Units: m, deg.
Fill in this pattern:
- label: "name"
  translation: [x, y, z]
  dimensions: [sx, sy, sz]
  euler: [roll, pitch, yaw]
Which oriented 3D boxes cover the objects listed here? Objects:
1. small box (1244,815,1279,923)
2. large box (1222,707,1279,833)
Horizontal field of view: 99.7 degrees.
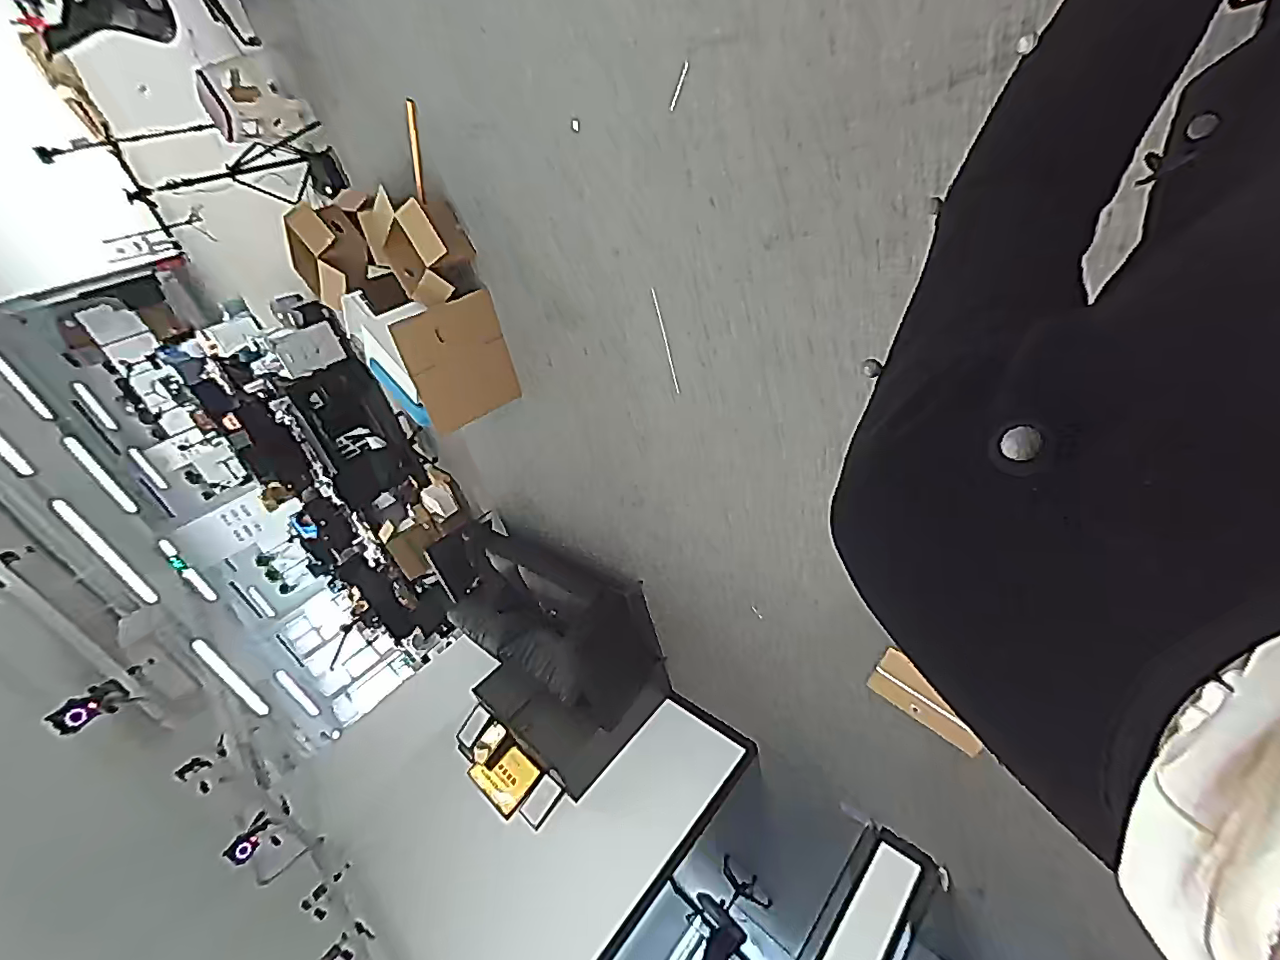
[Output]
- label: "small box"
  translation: [1.545, 0.907, 1.230]
  dimensions: [0.168, 0.176, 0.179]
  euler: [55, 148, -2]
- label: "large box"
  translation: [1.763, 0.786, 1.302]
  dimensions: [0.320, 0.320, 0.408]
  euler: [53, 147, -3]
